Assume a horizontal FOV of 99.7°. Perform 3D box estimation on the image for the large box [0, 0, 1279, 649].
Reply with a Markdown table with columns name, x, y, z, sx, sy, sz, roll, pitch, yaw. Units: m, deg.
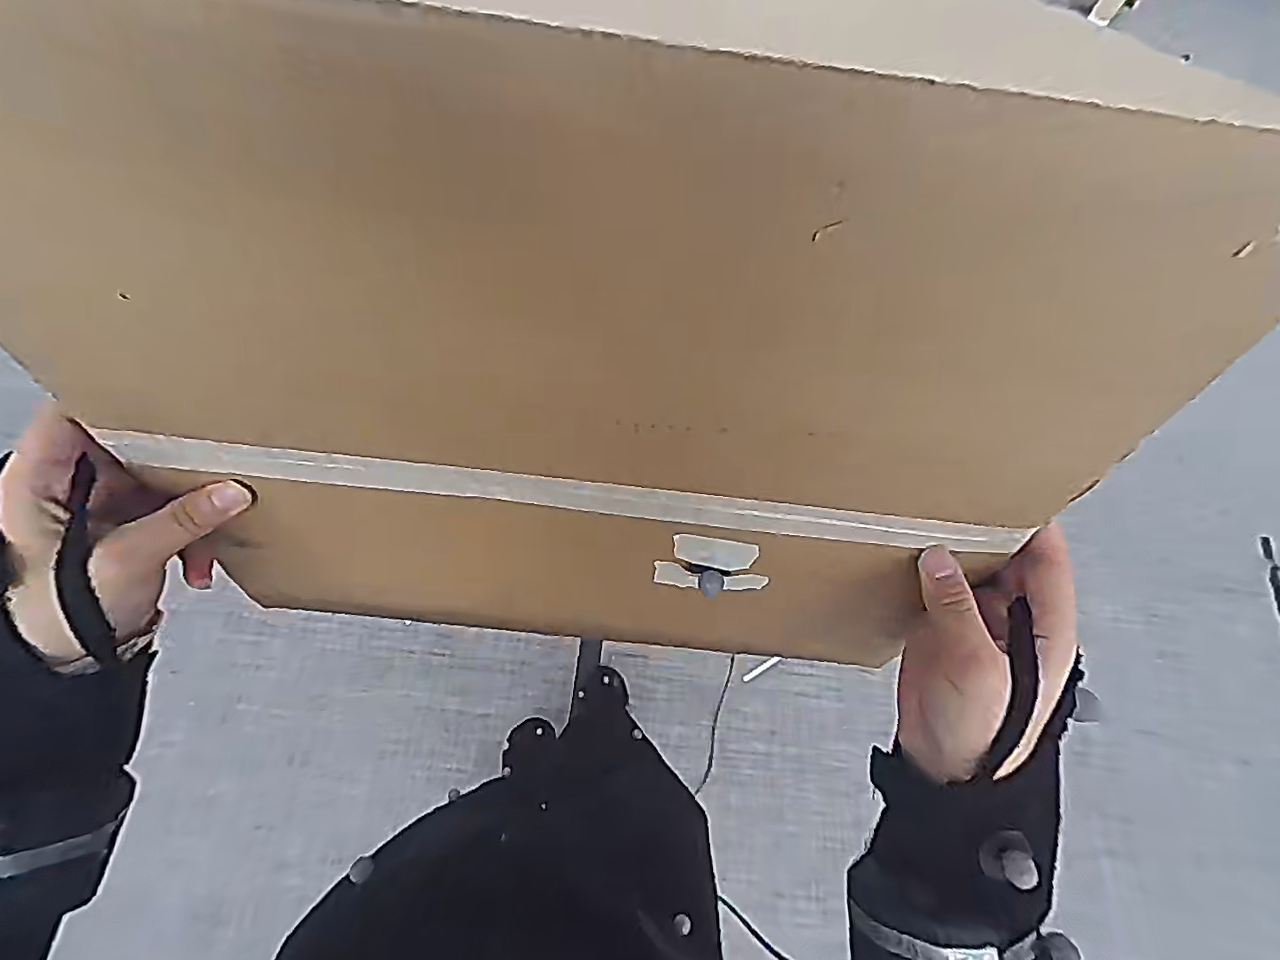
| name | x | y | z | sx | sy | sz | roll | pitch | yaw |
| --- | --- | --- | --- | --- | --- | --- | --- | --- | --- |
| large box | -0.019 | -0.113 | 0.343 | 0.408 | 0.320 | 0.320 | 6 | 51 | -3 |
